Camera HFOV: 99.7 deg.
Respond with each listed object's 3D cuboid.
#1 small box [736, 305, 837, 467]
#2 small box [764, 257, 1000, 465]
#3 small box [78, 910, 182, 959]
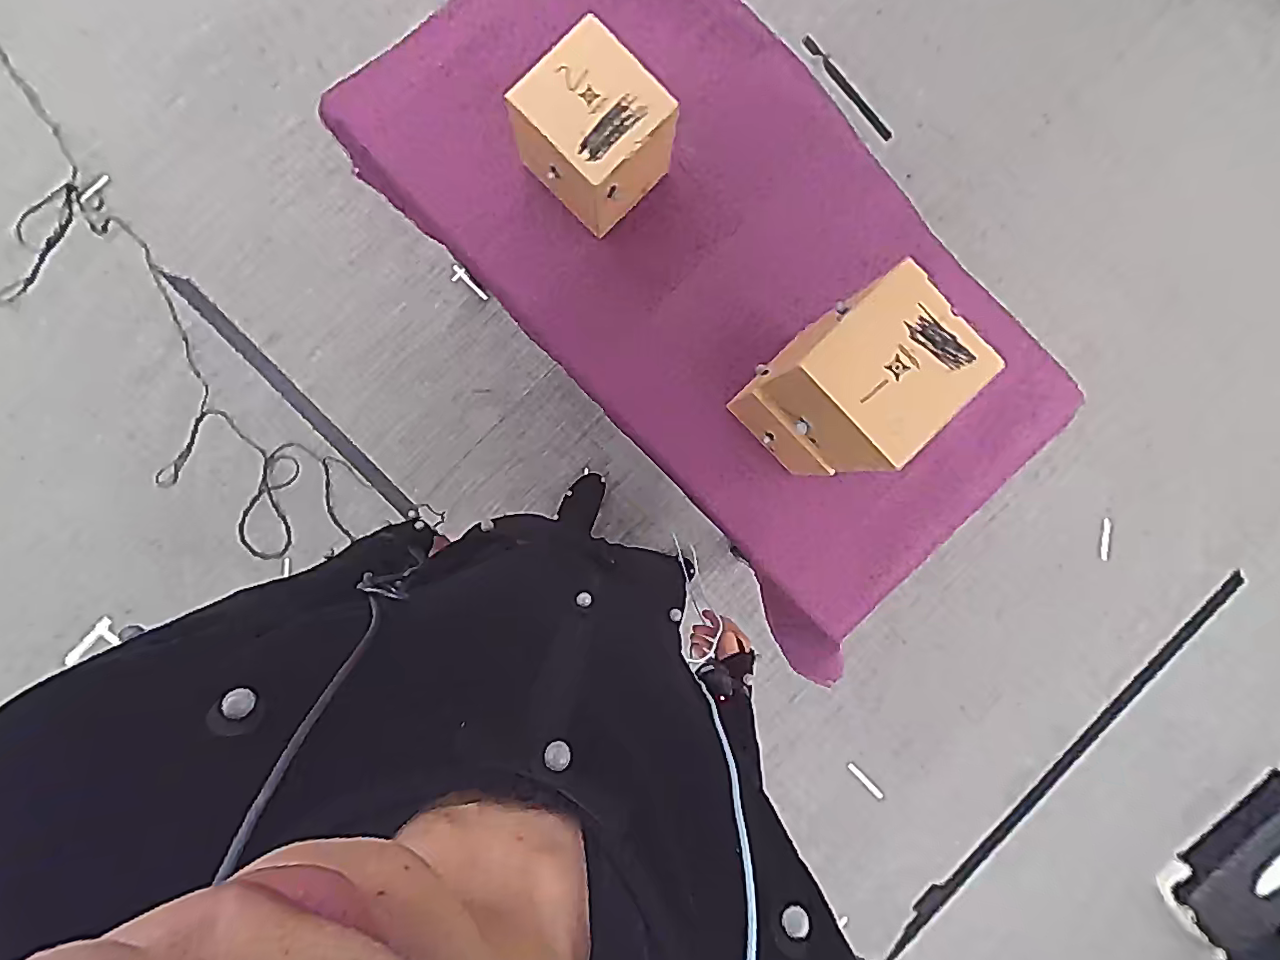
[{"bbox_3d":[0.269,-0.134,0.846,0.179,0.176,0.168,-44,94,-2],"label":"small box"},{"bbox_3d":[0.286,-0.136,0.683,0.179,0.176,0.168,-44,93,-1],"label":"small box"},{"bbox_3d":[-1.468,1.369,1.523,0.168,0.176,0.179,-37,95,-2],"label":"small box"}]
